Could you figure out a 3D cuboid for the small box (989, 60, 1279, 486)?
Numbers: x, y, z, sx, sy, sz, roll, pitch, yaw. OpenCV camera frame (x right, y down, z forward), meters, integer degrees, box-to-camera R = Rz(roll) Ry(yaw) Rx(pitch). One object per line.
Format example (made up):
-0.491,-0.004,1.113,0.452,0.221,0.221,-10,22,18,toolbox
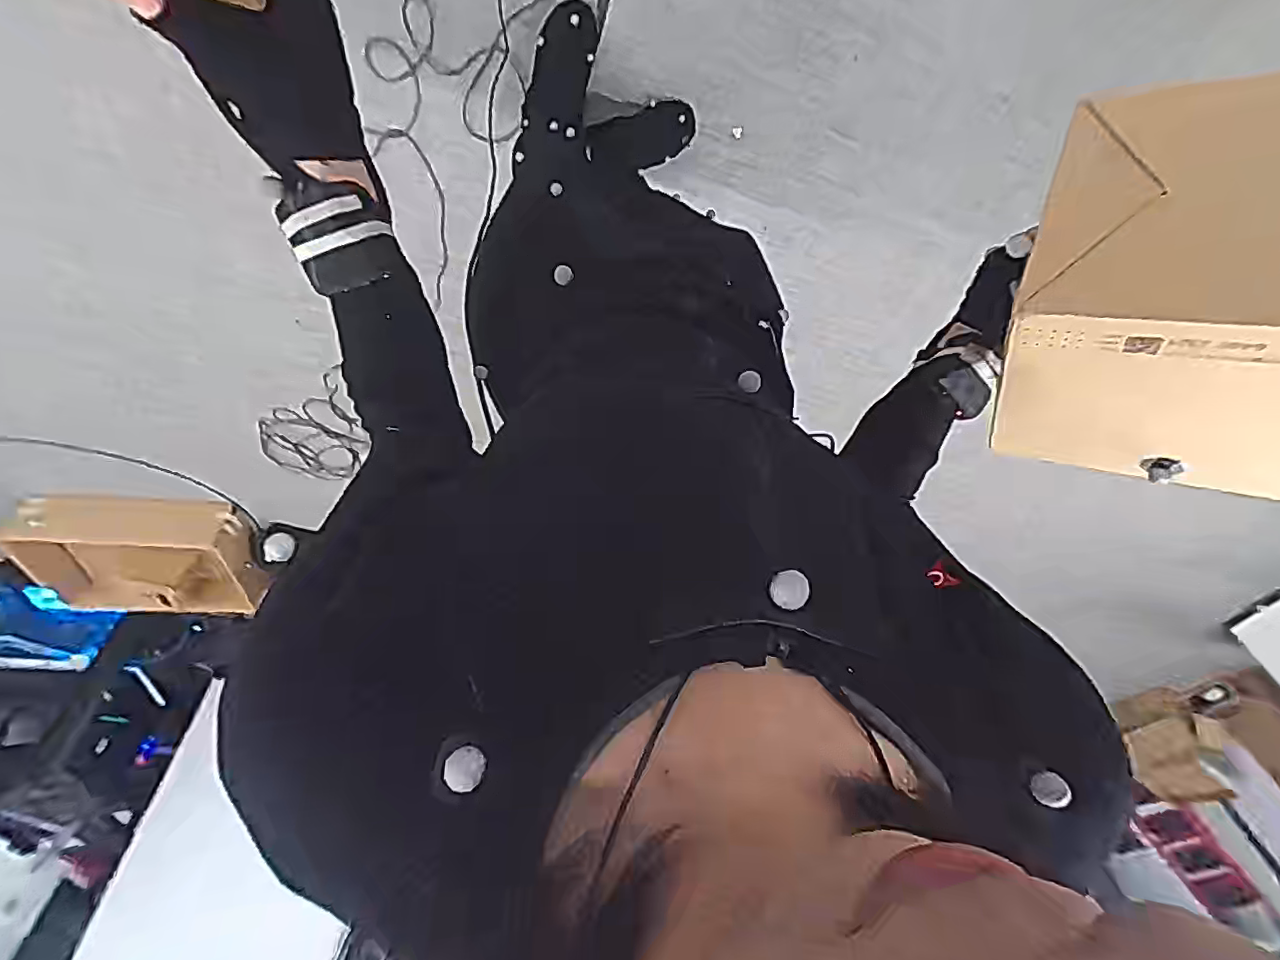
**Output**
0.337,-0.122,0.334,0.168,0.179,0.176,16,163,35,small box
